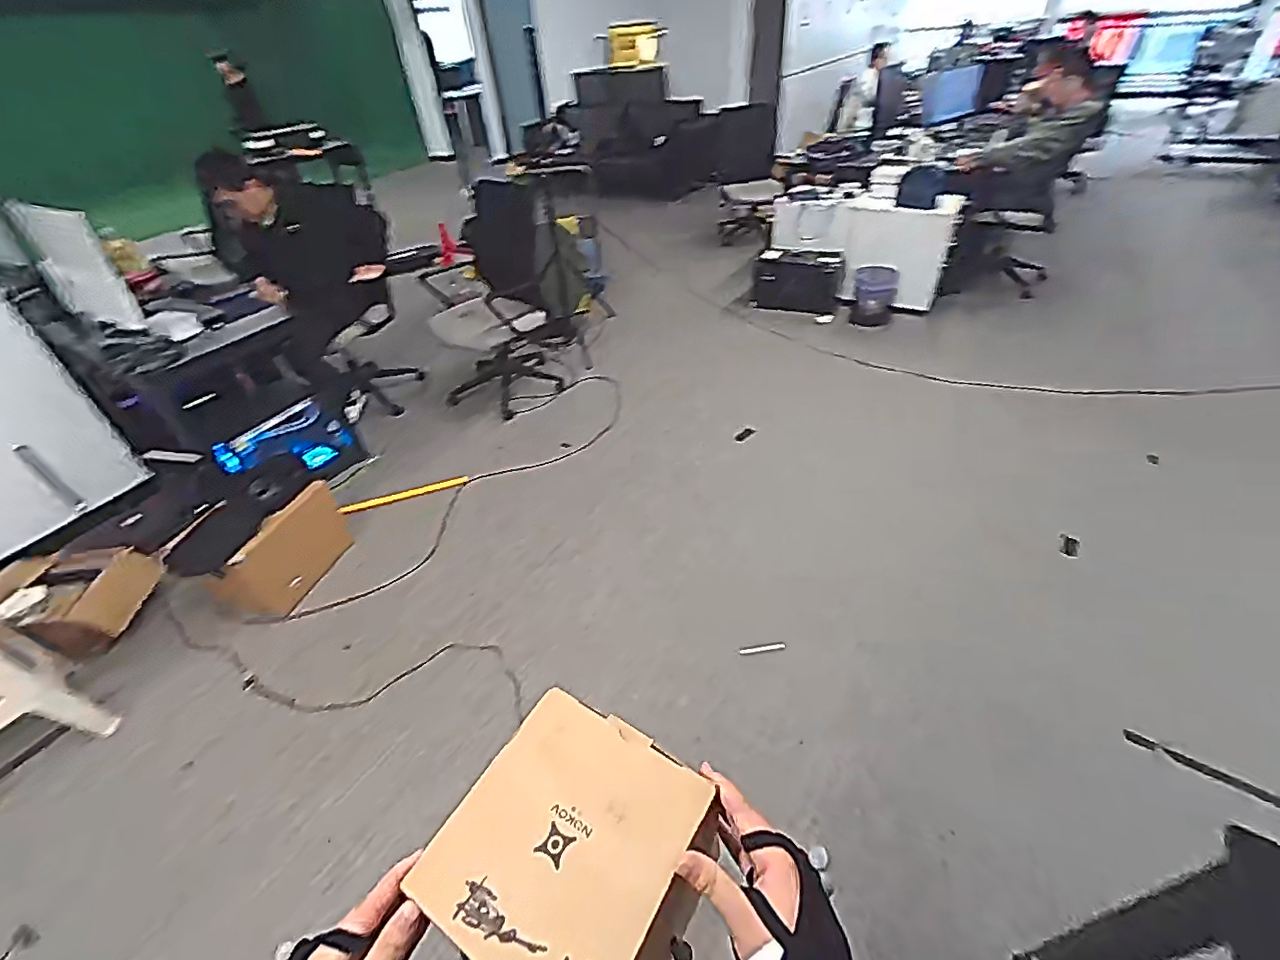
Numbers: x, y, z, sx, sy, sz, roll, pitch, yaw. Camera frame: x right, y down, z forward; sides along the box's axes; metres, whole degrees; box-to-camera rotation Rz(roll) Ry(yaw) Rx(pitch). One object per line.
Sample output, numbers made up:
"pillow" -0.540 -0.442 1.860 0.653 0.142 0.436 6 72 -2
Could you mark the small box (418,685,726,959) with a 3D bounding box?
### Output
"small box" -0.041 0.318 0.450 0.168 0.176 0.179 18 46 29
